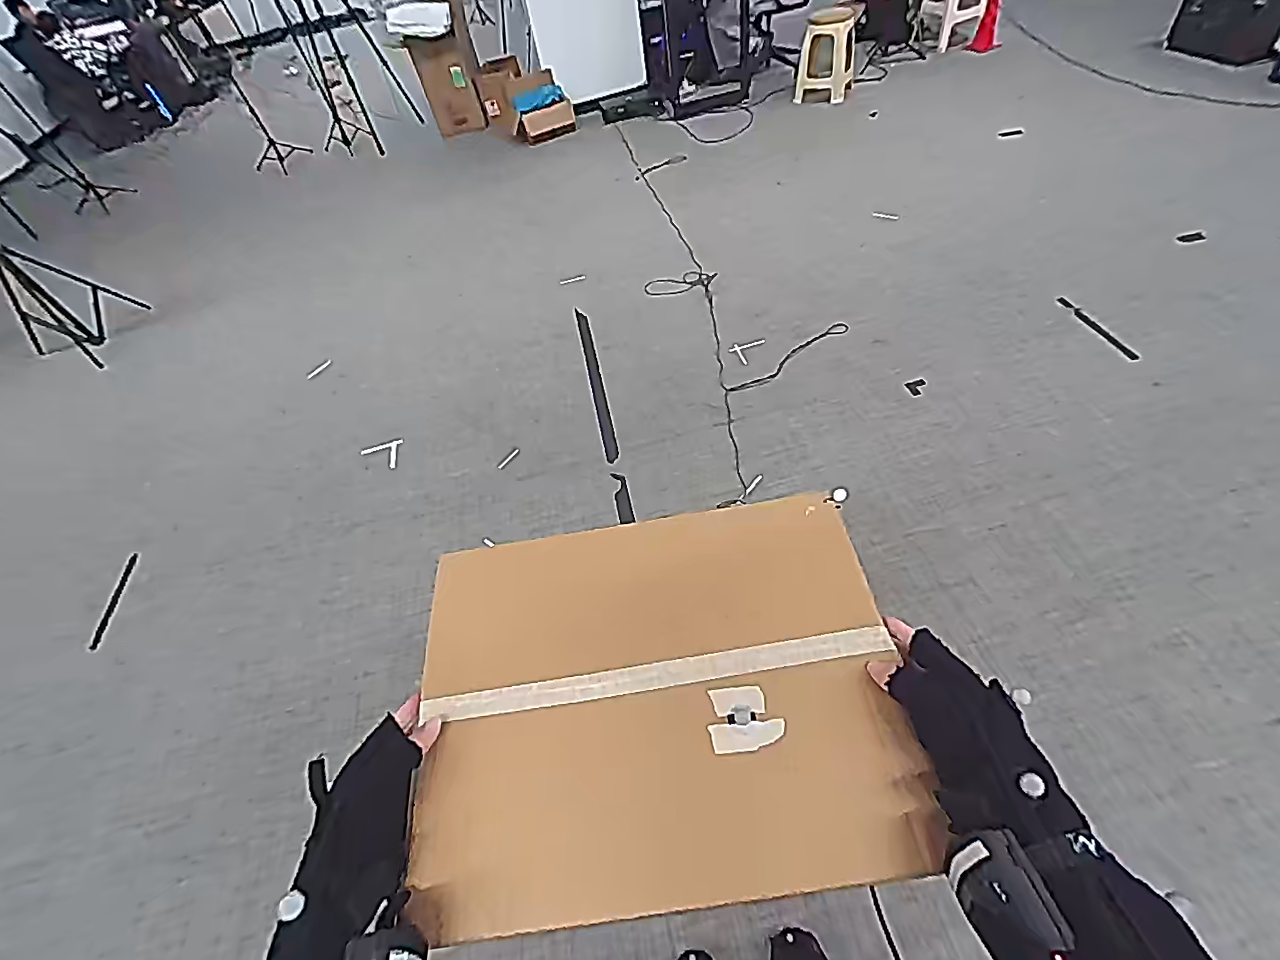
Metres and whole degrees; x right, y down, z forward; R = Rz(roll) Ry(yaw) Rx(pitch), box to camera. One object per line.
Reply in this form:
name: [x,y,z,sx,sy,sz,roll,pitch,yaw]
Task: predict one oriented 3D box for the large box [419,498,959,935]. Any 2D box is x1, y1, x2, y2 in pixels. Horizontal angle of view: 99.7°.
large box: [0.030,0.260,0.593,0.408,0.320,0.320,-9,53,1]
